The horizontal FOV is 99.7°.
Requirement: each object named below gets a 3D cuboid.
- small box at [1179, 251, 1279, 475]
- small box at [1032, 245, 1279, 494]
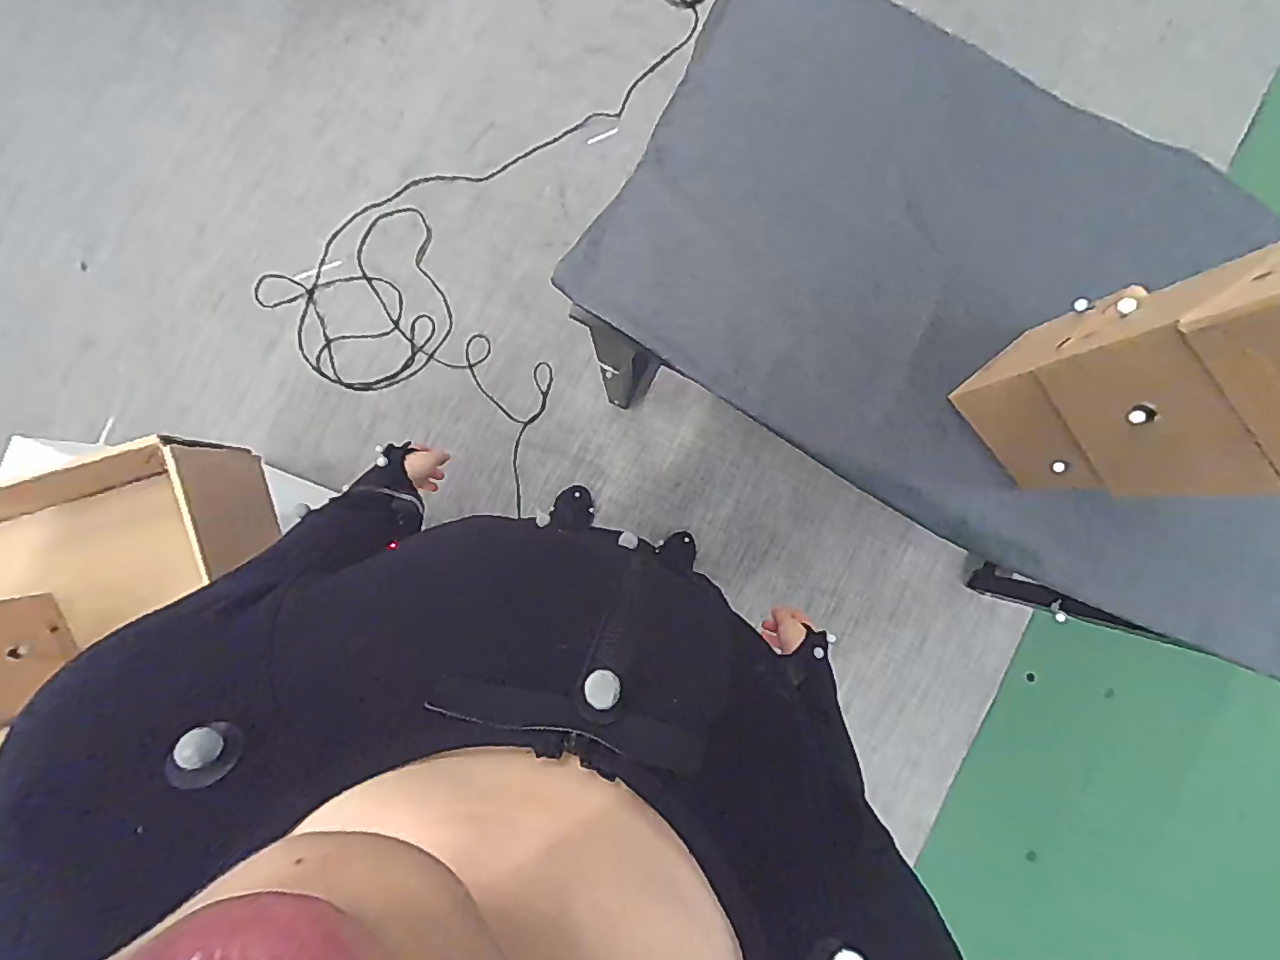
[{"bbox_3d":[0.557,-0.109,0.377,0.168,0.176,0.179,-34,89,-3],"label":"small box"},{"bbox_3d":[0.555,-0.100,0.539,0.168,0.176,0.179,-31,88,-3],"label":"small box"}]
